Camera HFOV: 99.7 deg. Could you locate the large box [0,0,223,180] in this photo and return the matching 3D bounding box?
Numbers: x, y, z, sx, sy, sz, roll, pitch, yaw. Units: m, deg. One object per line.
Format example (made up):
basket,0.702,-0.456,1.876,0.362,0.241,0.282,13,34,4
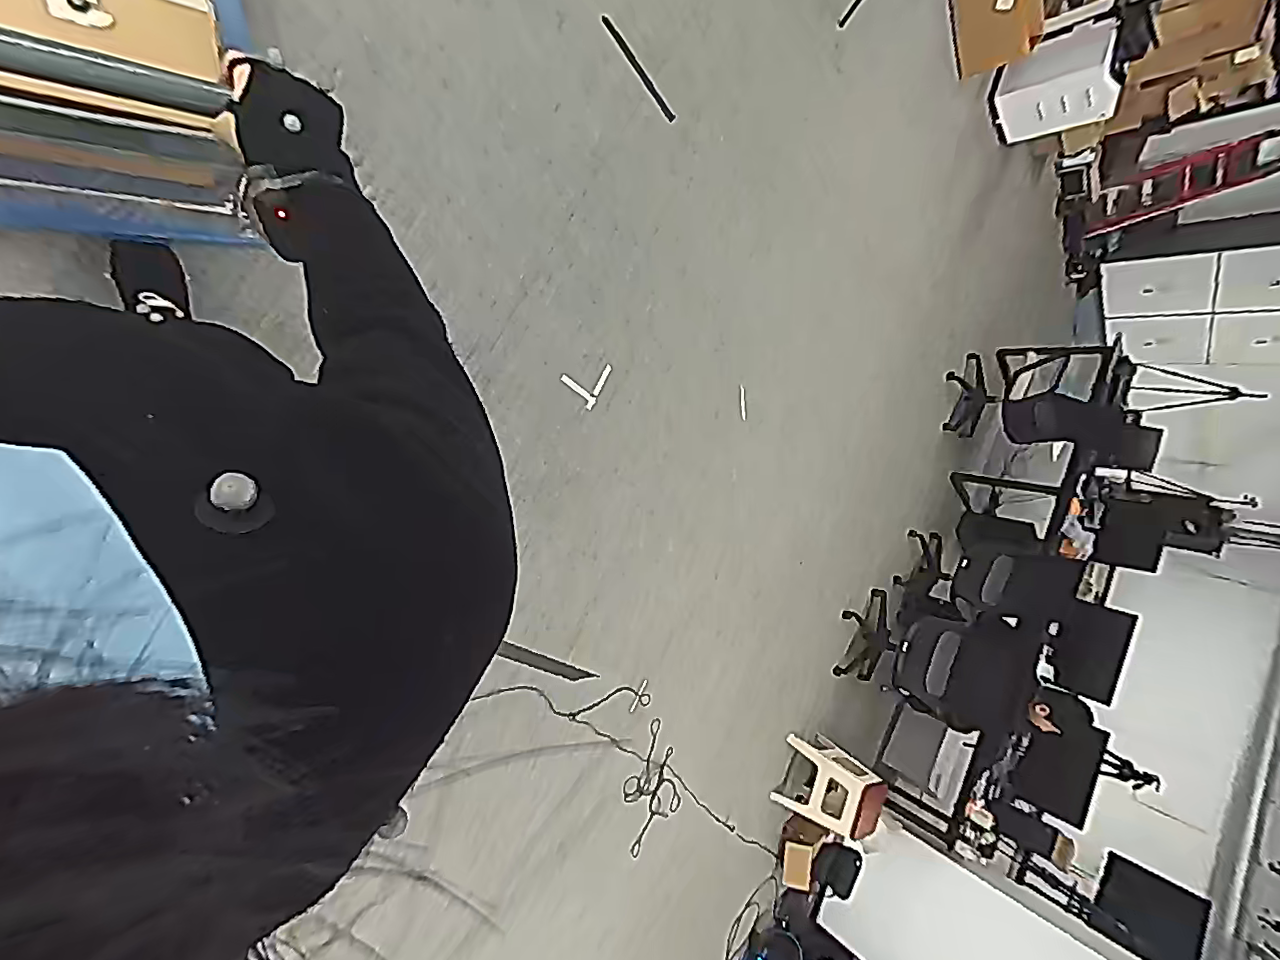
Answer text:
large box,-0.848,-0.638,0.718,0.408,0.320,0.320,-12,108,-42
